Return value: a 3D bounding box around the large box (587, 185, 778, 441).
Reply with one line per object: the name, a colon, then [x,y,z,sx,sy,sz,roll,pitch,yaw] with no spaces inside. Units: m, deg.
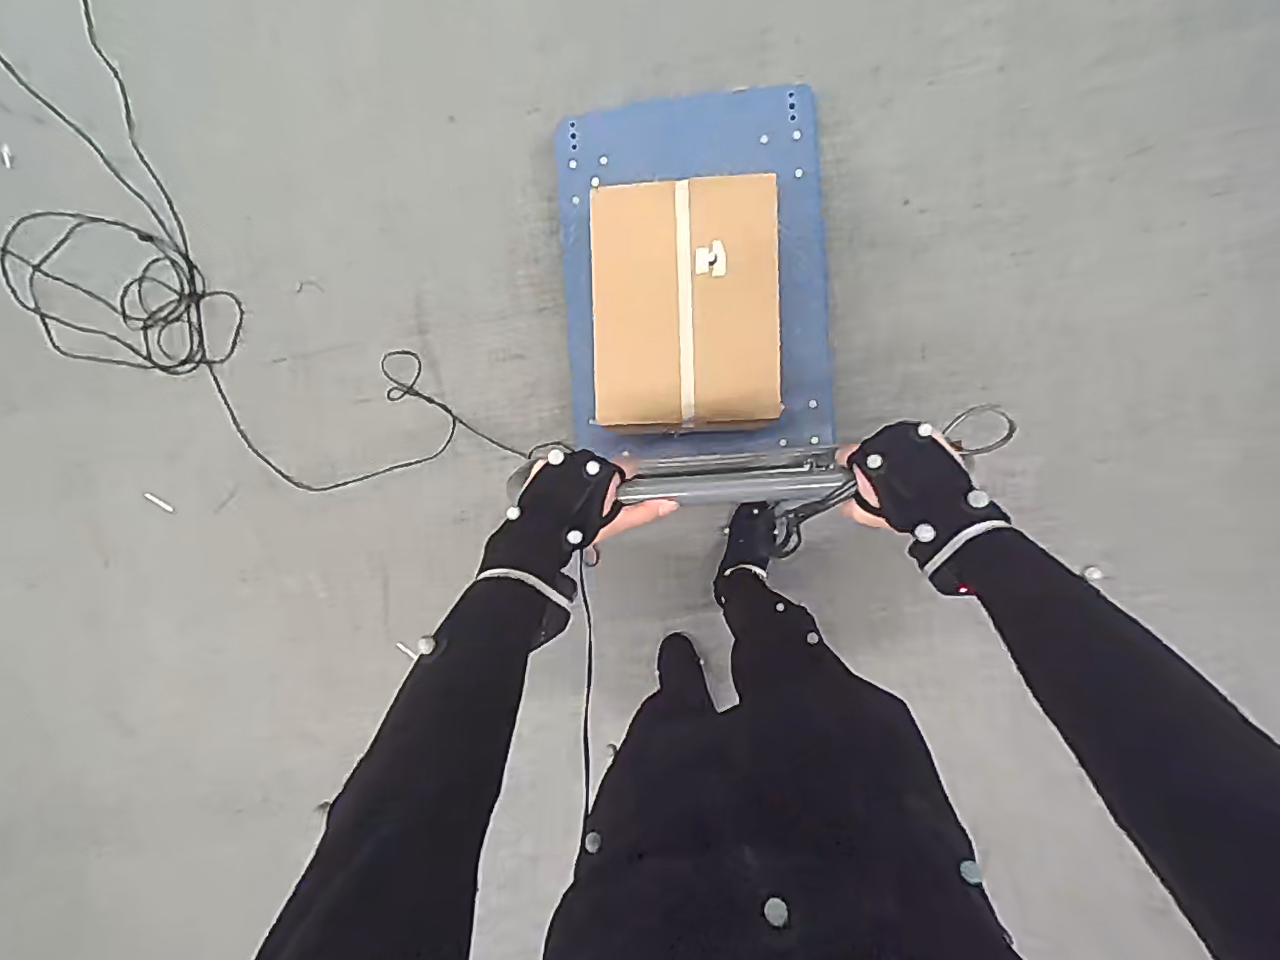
large box: [0.084,-0.289,1.063,0.320,0.320,0.408,-2,91,5]
